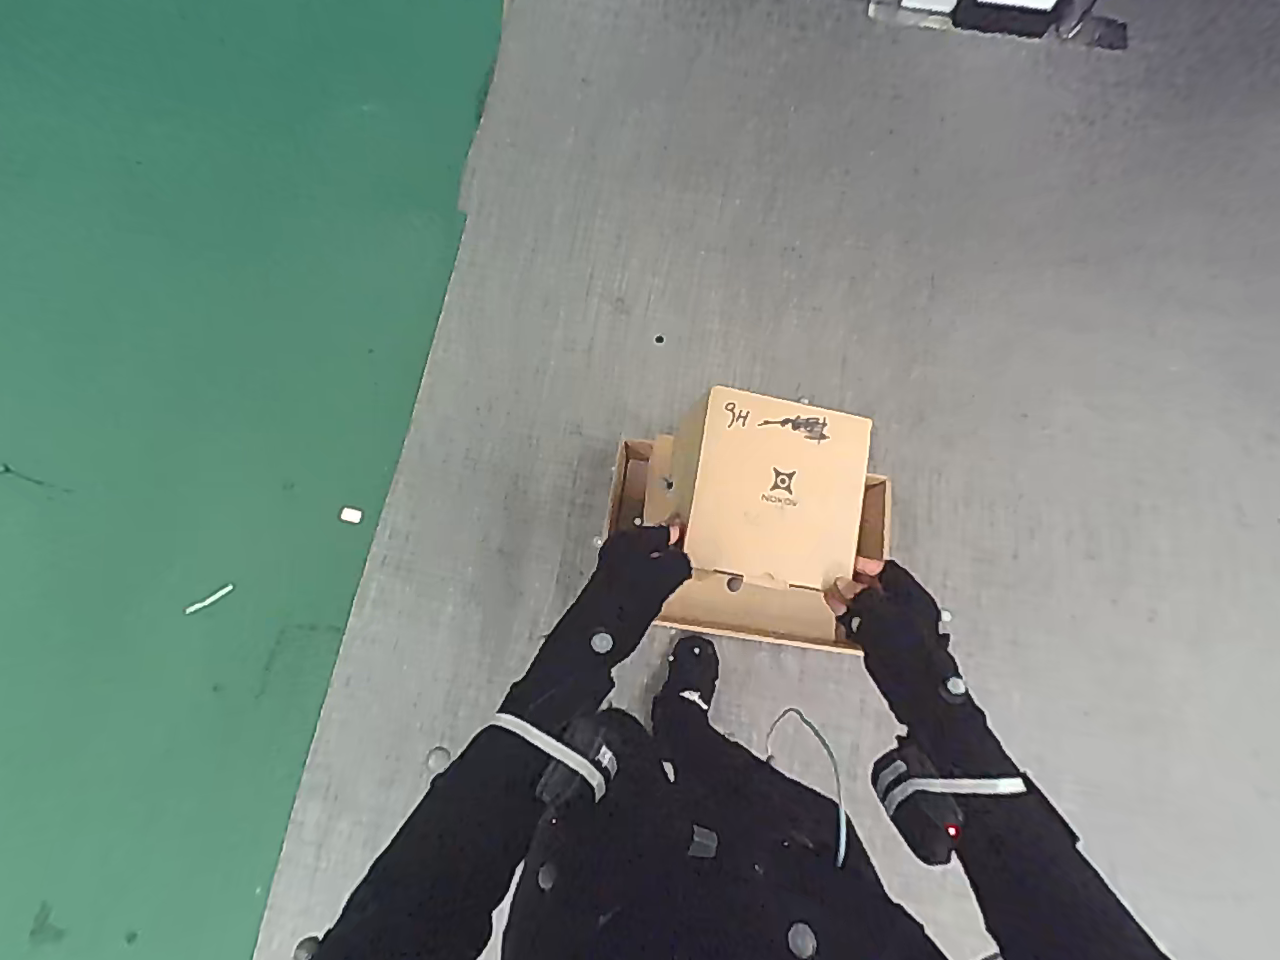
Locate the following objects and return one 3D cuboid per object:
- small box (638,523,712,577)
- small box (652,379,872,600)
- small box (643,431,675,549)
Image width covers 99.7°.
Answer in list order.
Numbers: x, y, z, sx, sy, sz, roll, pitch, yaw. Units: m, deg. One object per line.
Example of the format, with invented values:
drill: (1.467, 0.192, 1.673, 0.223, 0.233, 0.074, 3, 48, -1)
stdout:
small box: (0.089, 0.115, 1.217, 0.168, 0.176, 0.179, 10, 77, 1)
small box: (0.115, 0.018, 0.579, 0.168, 0.176, 0.179, 15, 80, -6)
small box: (0.096, 0.034, 0.901, 0.168, 0.176, 0.179, 7, 77, -1)
